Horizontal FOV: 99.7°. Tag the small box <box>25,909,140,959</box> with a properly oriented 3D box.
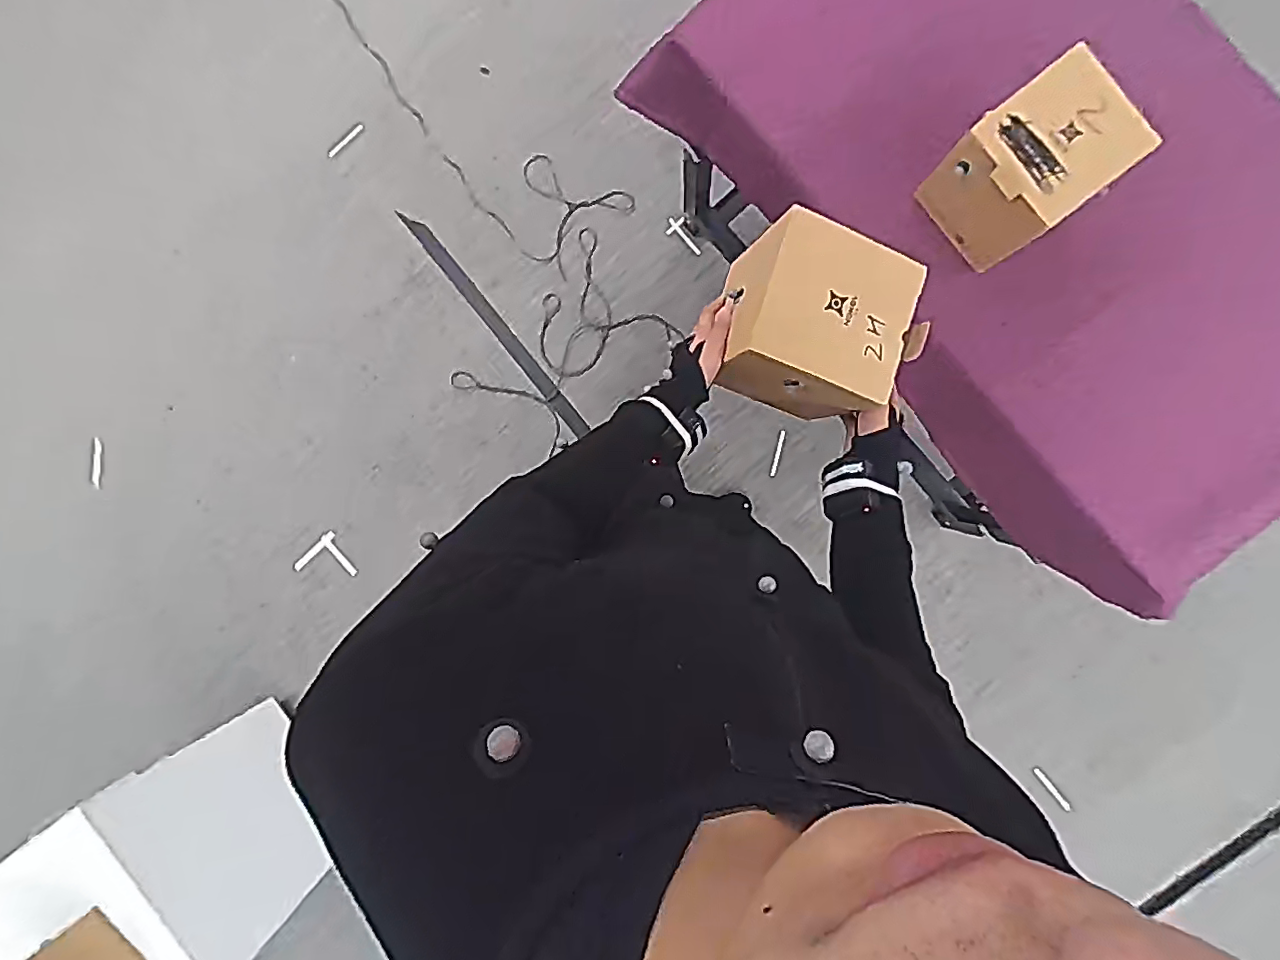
[{"bbox_3d":[-1.179,1.037,1.091,0.168,0.176,0.179,-44,88,4],"label":"small box"}]

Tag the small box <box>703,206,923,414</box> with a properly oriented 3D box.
[{"bbox_3d":[0.194,-0.187,0.656,0.179,0.176,0.168,18,87,-9],"label":"small box"}]
